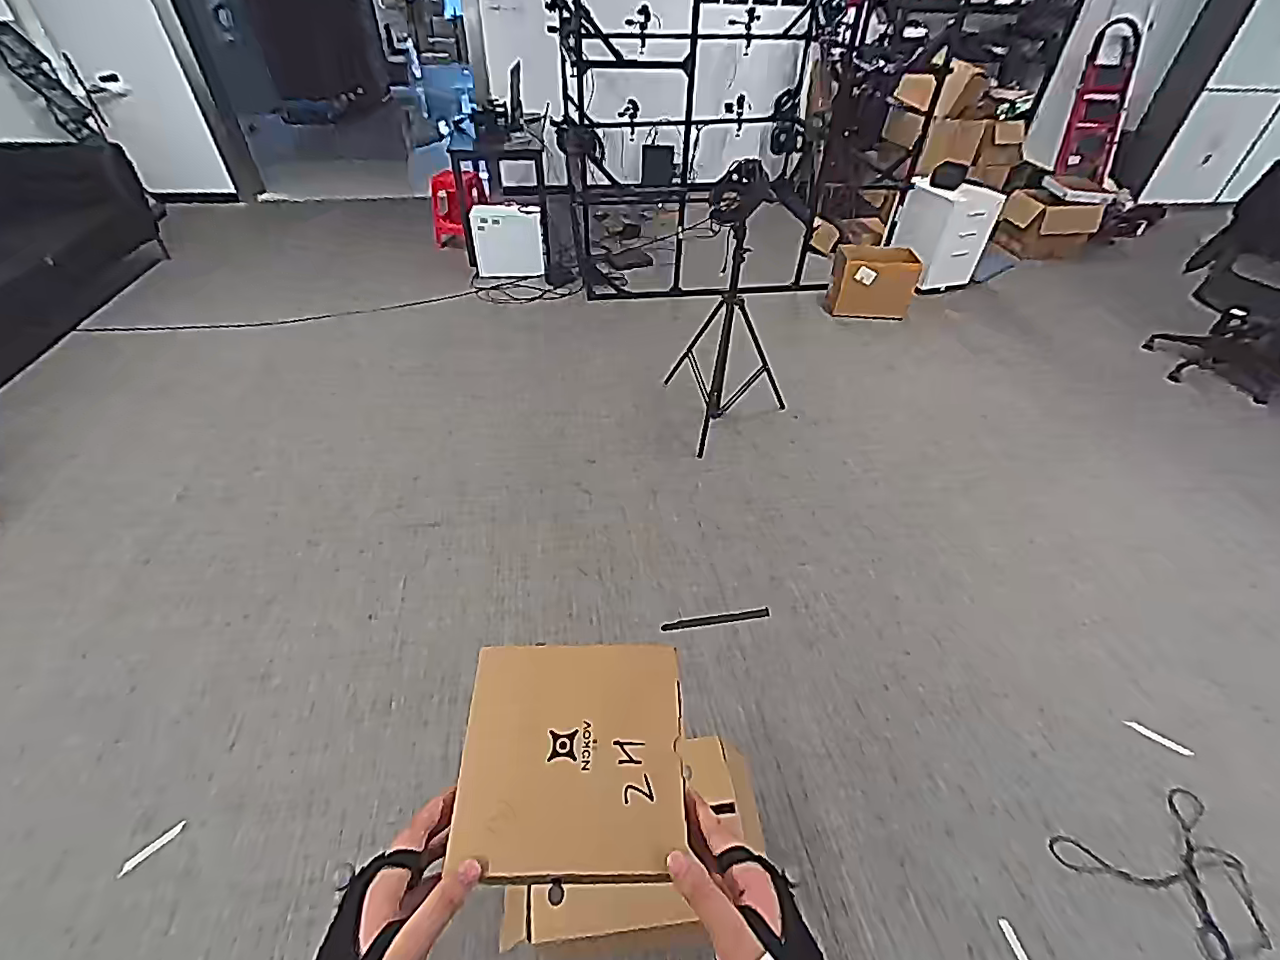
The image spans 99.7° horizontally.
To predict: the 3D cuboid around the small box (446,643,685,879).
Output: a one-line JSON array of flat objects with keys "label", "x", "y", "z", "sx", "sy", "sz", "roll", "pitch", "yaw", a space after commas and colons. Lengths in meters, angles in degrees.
[{"label": "small box", "x": -0.055, "y": 0.261, "z": 0.497, "sx": 0.179, "sy": 0.176, "sz": 0.168, "roll": 0, "pitch": 52, "yaw": -2}]
